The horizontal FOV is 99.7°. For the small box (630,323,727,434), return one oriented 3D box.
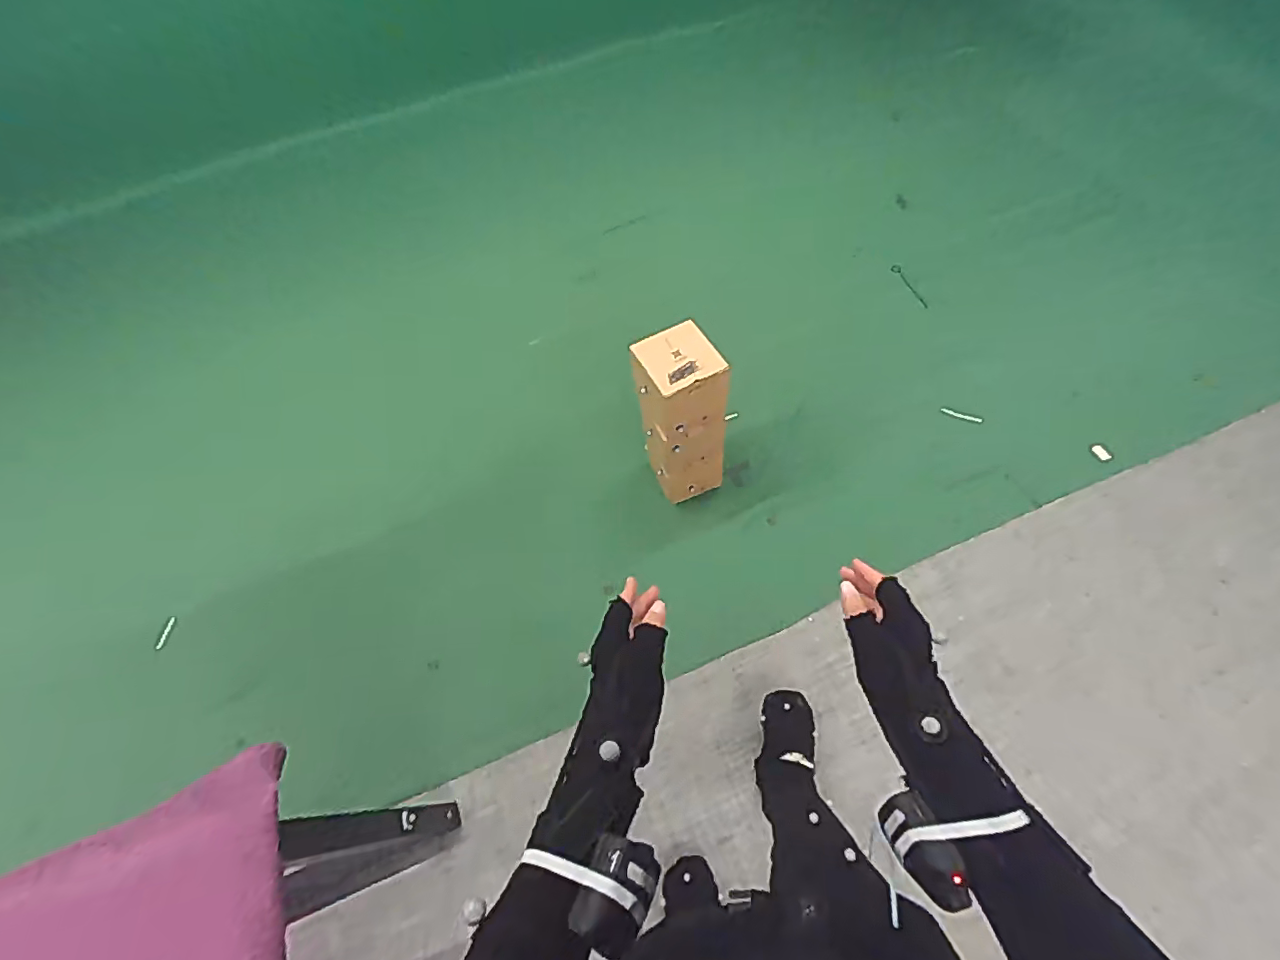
[{"bbox_3d":[0.094,-0.234,1.291,0.168,0.176,0.179,-26,60,-10],"label":"small box"}]

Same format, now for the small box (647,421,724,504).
[{"bbox_3d":[0.130,-0.061,1.569,0.168,0.176,0.179,-21,61,-6],"label":"small box"}]
